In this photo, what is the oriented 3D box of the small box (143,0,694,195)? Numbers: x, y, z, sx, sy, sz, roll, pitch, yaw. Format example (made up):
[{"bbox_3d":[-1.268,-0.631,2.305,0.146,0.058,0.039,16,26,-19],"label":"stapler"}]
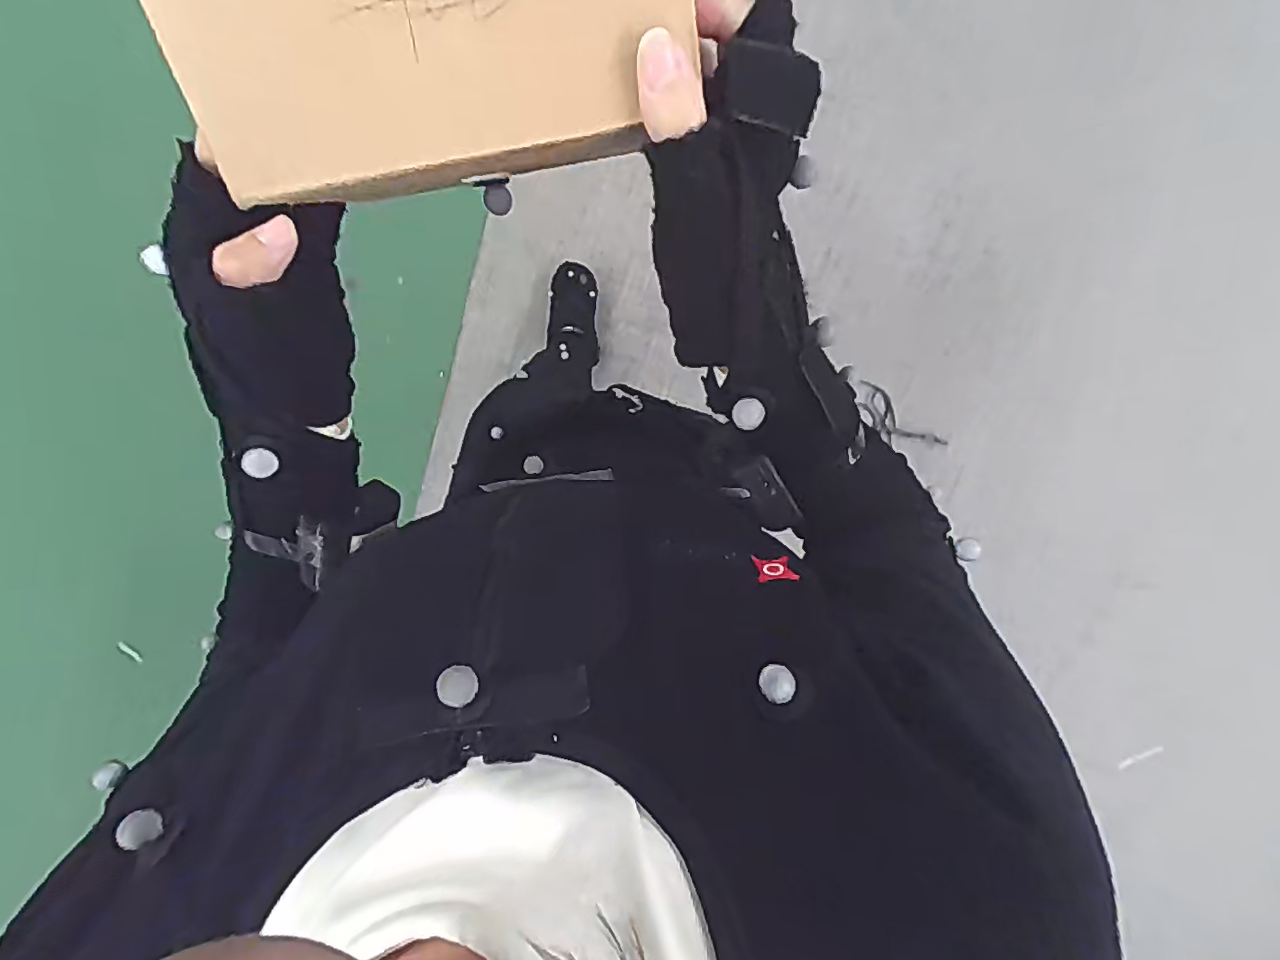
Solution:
[{"bbox_3d":[-0.081,-0.226,0.218,0.168,0.176,0.179,-11,119,1],"label":"small box"}]
